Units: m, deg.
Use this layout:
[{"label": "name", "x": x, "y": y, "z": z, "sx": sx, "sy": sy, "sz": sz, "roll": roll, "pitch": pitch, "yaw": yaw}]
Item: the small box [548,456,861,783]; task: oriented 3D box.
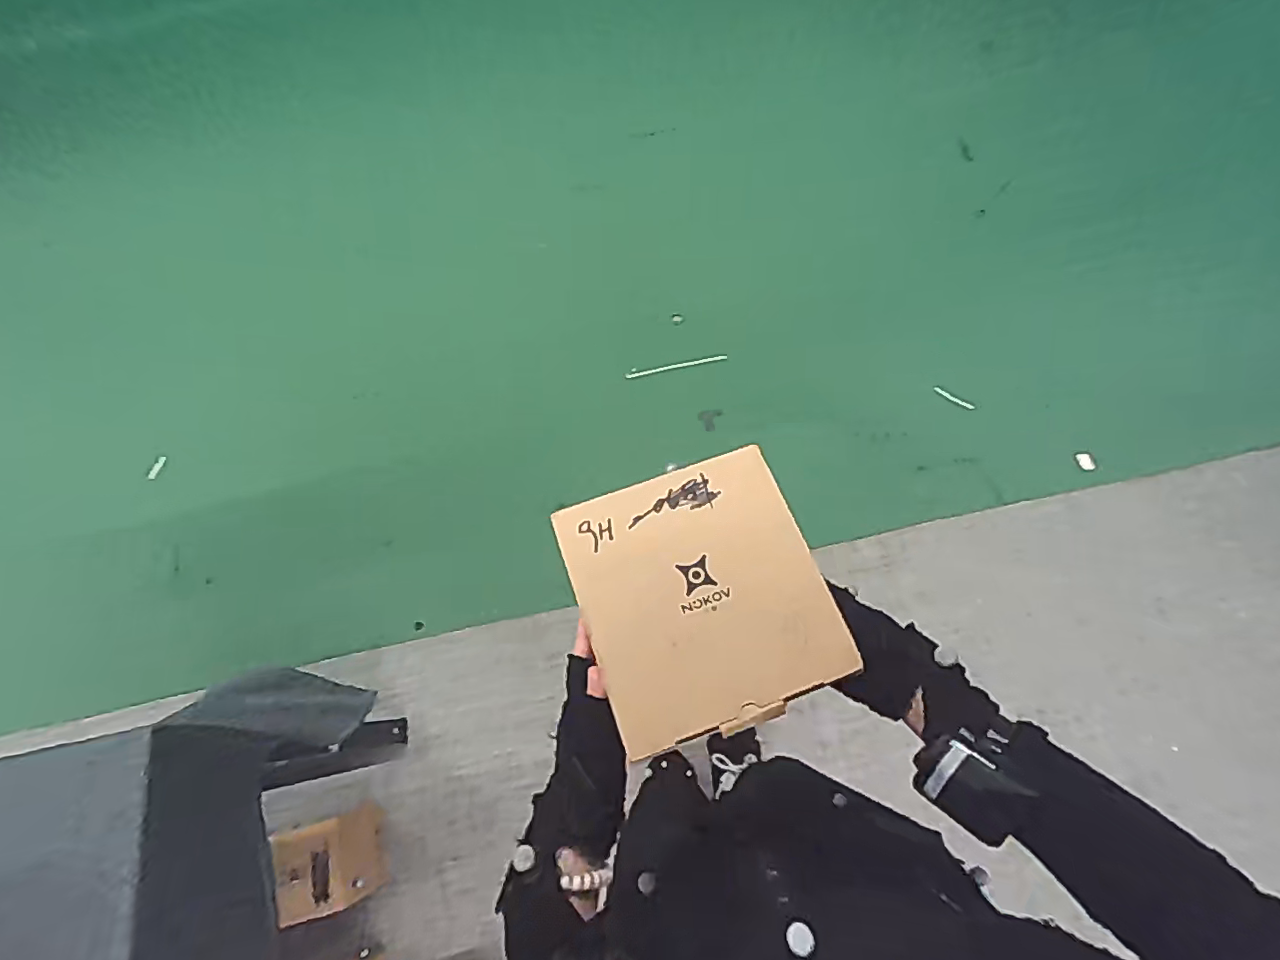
[{"label": "small box", "x": 0.040, "y": 0.110, "z": 0.441, "sx": 0.168, "sy": 0.176, "sz": 0.179, "roll": -20, "pitch": 71, "yaw": -7}]

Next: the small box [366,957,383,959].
[{"label": "small box", "x": -0.601, "y": 1.085, "z": 1.061, "sx": 0.168, "sy": 0.176, "sz": 0.179, "roll": -14, "pitch": 69, "yaw": -2}]
